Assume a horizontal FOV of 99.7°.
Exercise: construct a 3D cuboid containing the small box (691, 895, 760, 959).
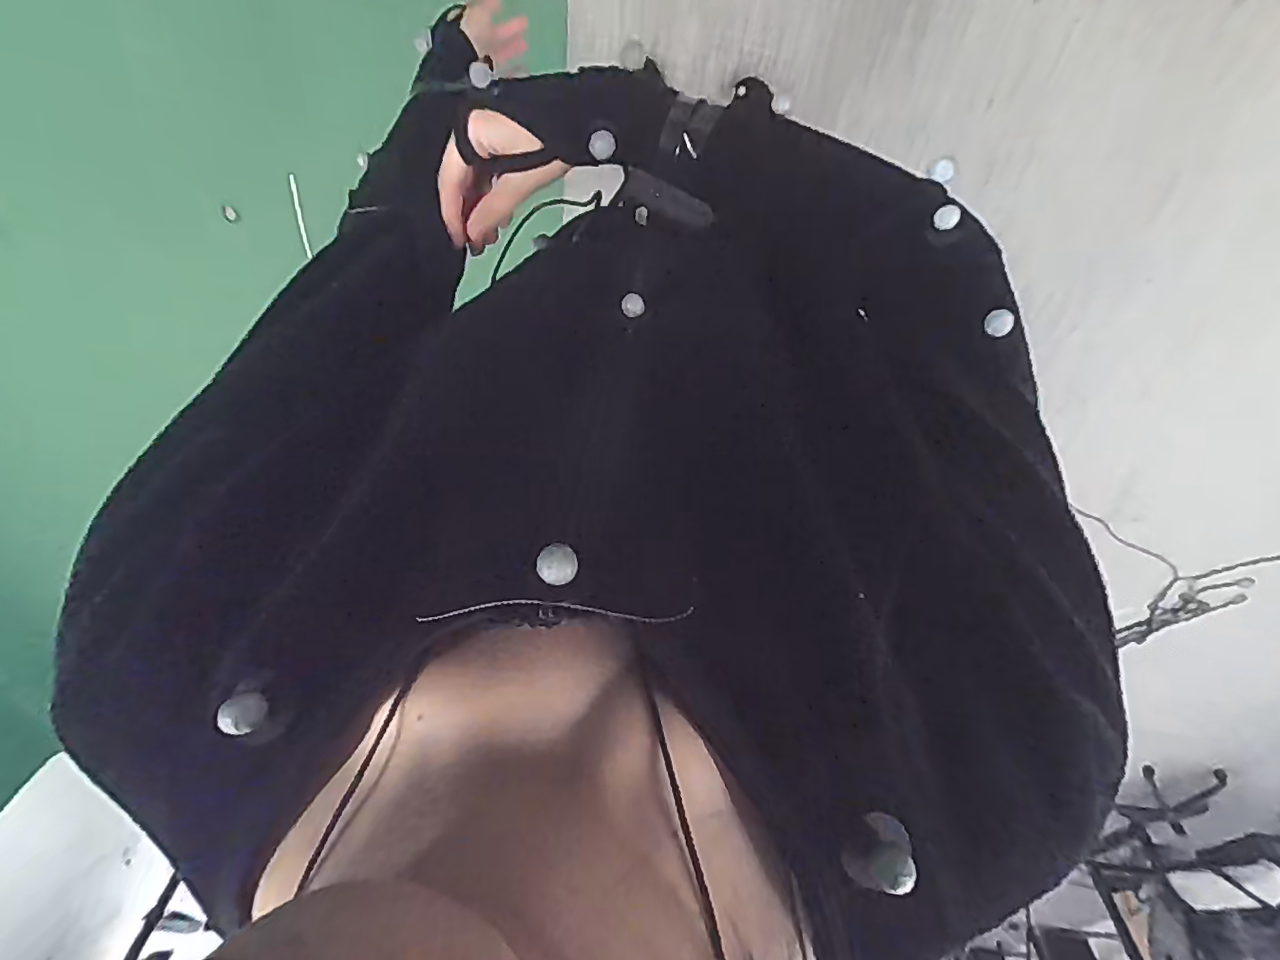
[{"bbox_3d":[0.253,1.384,1.638,0.179,0.176,0.168,7,129,-2],"label":"small box"}]
